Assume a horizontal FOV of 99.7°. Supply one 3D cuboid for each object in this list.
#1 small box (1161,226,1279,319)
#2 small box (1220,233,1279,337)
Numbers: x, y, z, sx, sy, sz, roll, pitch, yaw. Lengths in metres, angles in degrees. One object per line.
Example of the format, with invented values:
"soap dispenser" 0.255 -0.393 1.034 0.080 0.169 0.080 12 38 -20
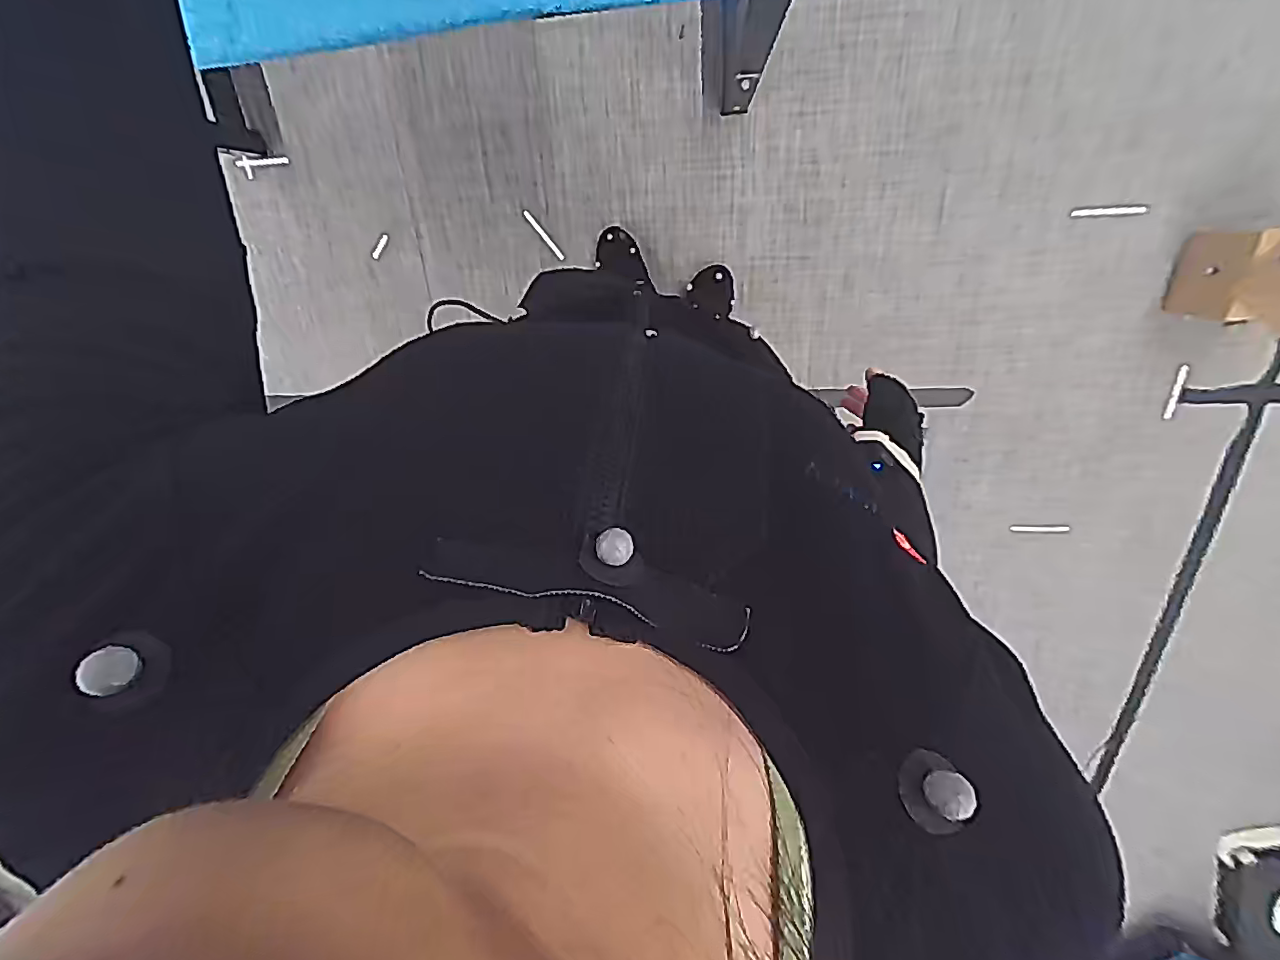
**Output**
"small box" 1.281 -0.445 1.153 0.168 0.176 0.179 1 114 4
"small box" 1.278 -0.374 1.000 0.168 0.176 0.179 33 113 -10
